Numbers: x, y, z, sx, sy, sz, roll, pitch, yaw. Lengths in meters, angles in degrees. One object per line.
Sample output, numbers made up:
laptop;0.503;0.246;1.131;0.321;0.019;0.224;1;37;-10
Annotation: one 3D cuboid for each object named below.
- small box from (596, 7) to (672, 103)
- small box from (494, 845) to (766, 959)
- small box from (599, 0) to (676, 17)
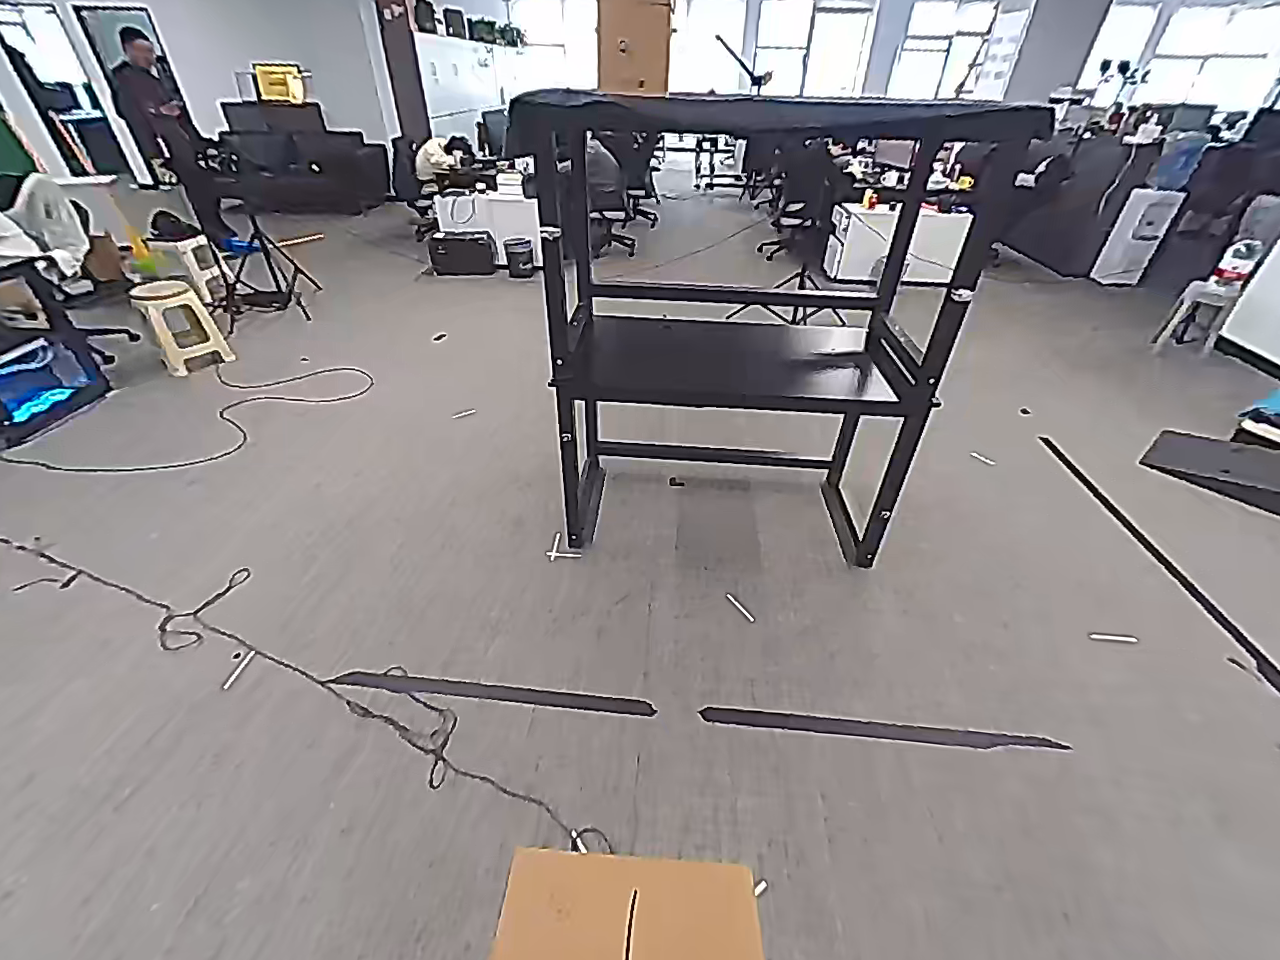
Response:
small box;-0.011;-1.006;1.289;0.168;0.176;0.179;4;35;2
small box;-0.011;0.371;0.335;0.168;0.176;0.179;4;27;1
small box;-0.002;-1.139;1.197;0.168;0.176;0.179;4;35;4
